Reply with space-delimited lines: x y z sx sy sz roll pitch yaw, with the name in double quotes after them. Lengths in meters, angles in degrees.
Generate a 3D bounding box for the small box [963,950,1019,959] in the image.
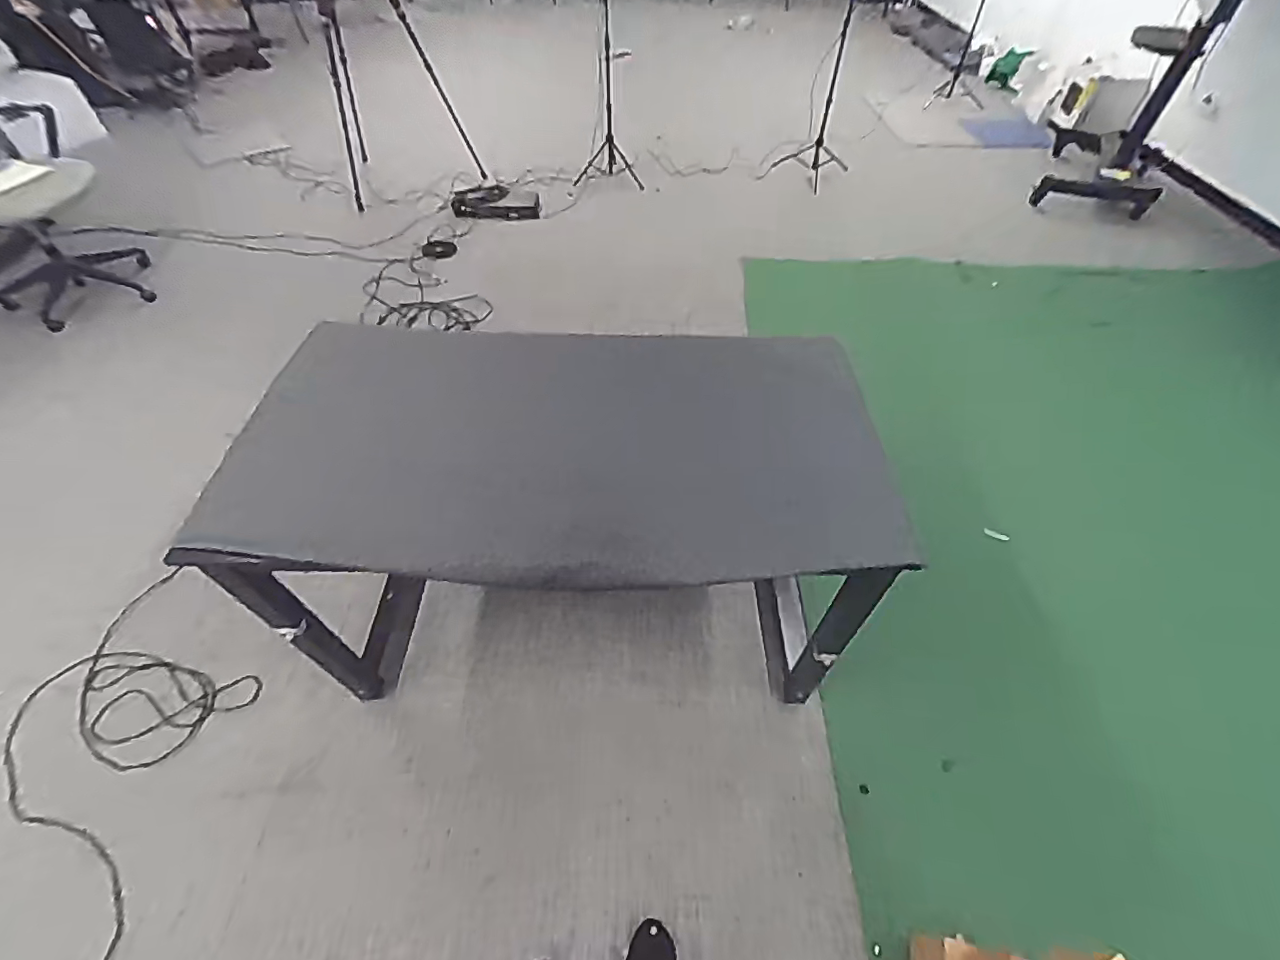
0.607 0.897 0.857 0.179 0.176 0.168 32 58 22 "small box"

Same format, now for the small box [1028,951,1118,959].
0.609 0.786 0.735 0.168 0.176 0.179 -18 52 -13 "small box"

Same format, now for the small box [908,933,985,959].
0.612 0.974 1.002 0.179 0.176 0.168 14 53 10 "small box"
